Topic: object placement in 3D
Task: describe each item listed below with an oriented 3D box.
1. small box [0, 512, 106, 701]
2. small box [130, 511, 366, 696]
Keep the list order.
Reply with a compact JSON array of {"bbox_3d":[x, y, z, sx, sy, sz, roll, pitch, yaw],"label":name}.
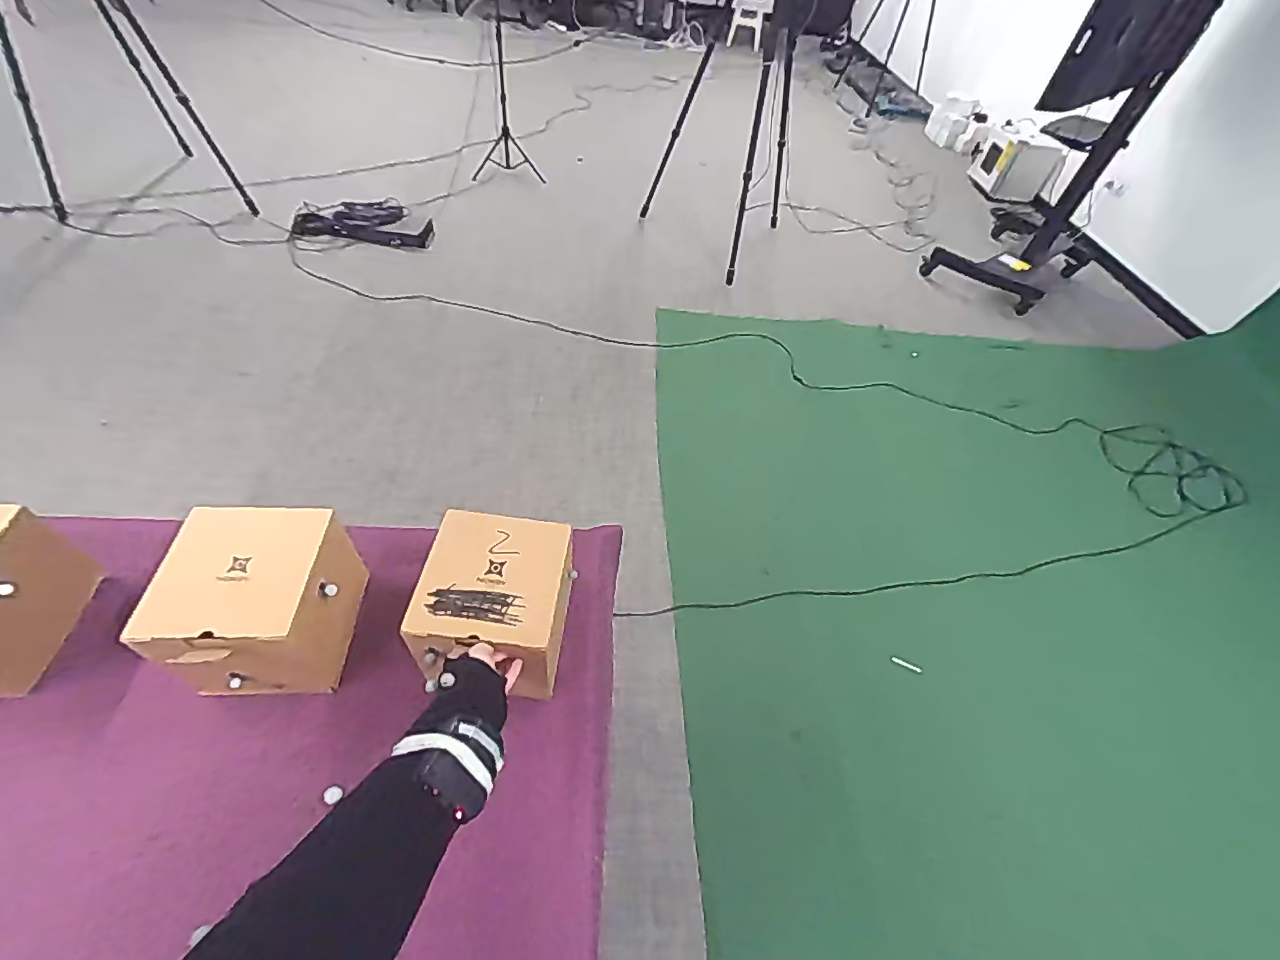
[{"bbox_3d":[-0.817,0.153,0.648,0.168,0.176,0.179,3,50,-6],"label":"small box"},{"bbox_3d":[-0.470,0.158,0.690,0.168,0.176,0.179,1,51,-7],"label":"small box"}]
